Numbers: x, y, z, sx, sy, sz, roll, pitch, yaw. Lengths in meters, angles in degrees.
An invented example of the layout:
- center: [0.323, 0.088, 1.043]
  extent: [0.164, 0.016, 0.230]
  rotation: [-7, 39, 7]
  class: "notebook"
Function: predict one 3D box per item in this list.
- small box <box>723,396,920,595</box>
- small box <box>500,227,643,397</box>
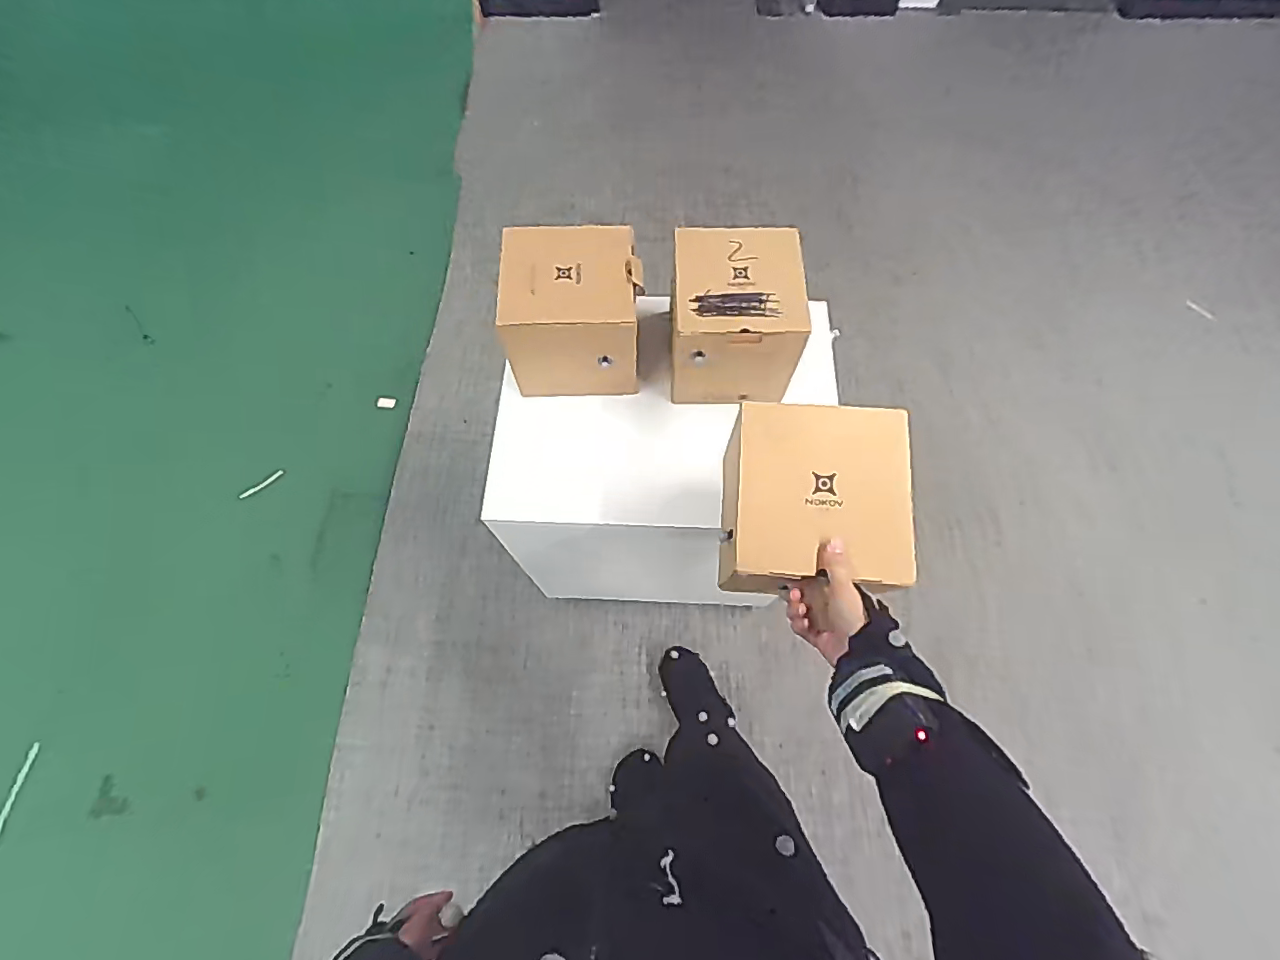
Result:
- center: [0.183, 0.025, 0.595]
  extent: [0.168, 0.176, 0.179]
  rotation: [4, 74, 4]
  class: "small box"
- center: [-0.088, -0.230, 0.766]
  extent: [0.179, 0.176, 0.168]
  rotation: [-2, 66, -1]
  class: "small box"
